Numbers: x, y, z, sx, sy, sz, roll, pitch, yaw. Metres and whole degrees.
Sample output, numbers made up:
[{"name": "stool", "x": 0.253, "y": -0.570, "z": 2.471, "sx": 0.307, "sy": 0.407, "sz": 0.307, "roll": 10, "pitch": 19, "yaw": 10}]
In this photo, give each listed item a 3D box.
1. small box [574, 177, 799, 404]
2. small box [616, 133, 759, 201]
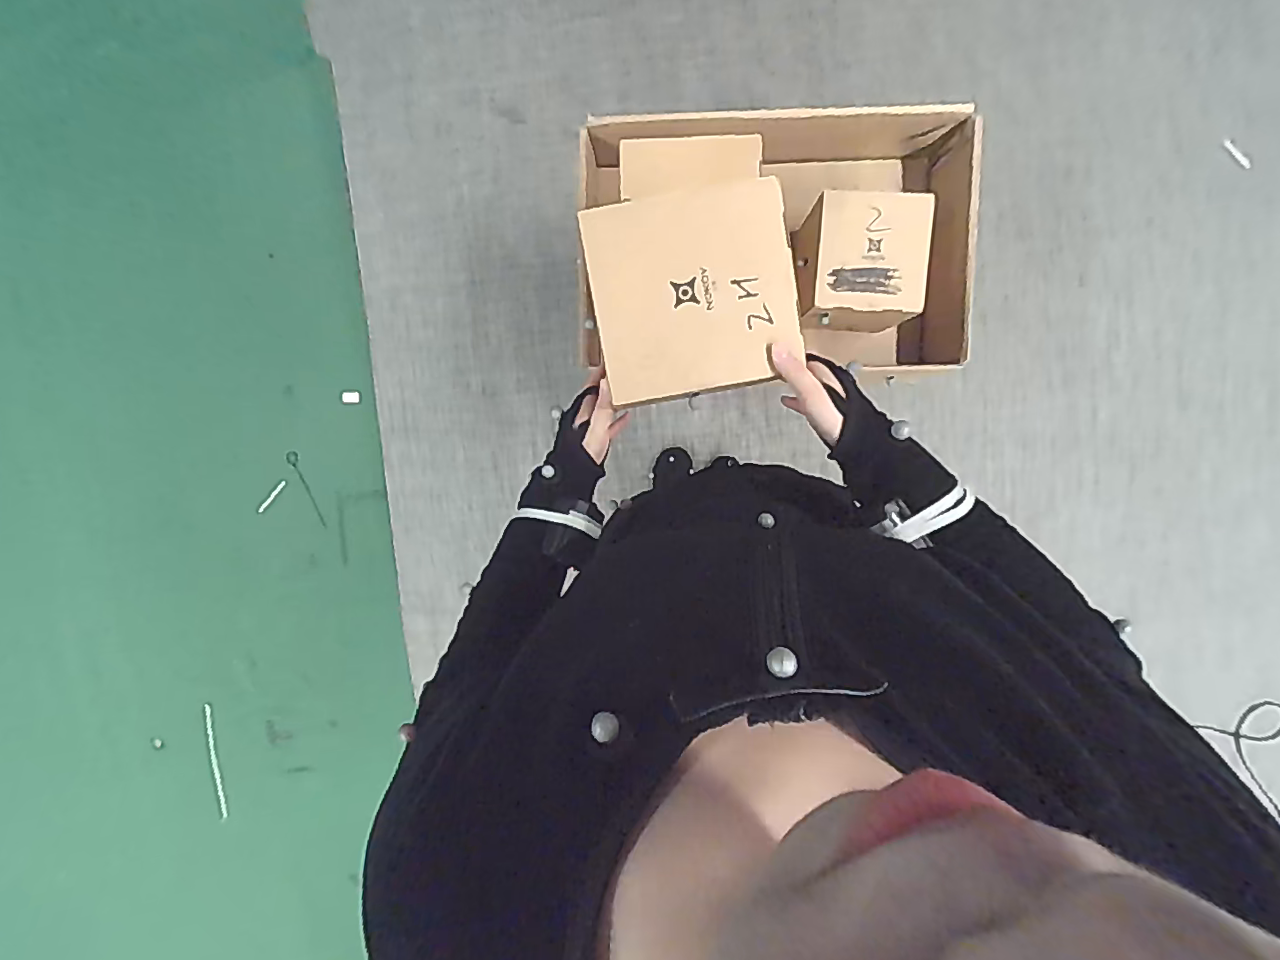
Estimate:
[{"name": "small box", "x": 0.040, "y": -0.171, "z": 0.542, "sx": 0.179, "sy": 0.176, "sz": 0.168, "roll": -10, "pitch": 98, "yaw": -1}, {"name": "small box", "x": 0.061, "y": -0.347, "z": 0.745, "sx": 0.179, "sy": 0.176, "sz": 0.168, "roll": -1, "pitch": 95, "yaw": 1}]
